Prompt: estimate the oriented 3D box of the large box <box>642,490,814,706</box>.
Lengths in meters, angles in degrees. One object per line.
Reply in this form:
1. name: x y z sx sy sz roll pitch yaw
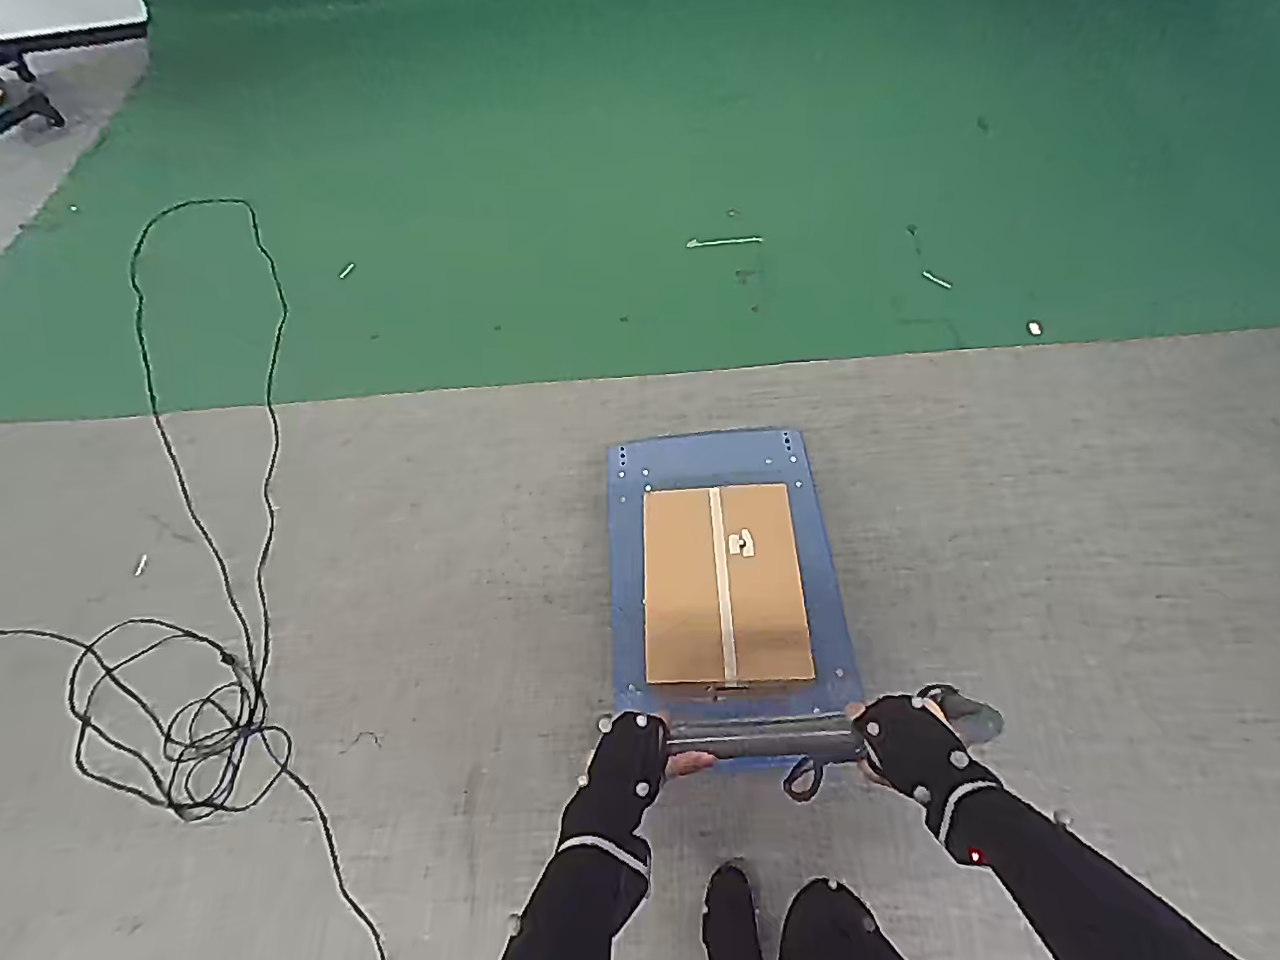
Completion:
1. large box: 0.179 0.276 1.226 0.320 0.320 0.408 -3 61 4
